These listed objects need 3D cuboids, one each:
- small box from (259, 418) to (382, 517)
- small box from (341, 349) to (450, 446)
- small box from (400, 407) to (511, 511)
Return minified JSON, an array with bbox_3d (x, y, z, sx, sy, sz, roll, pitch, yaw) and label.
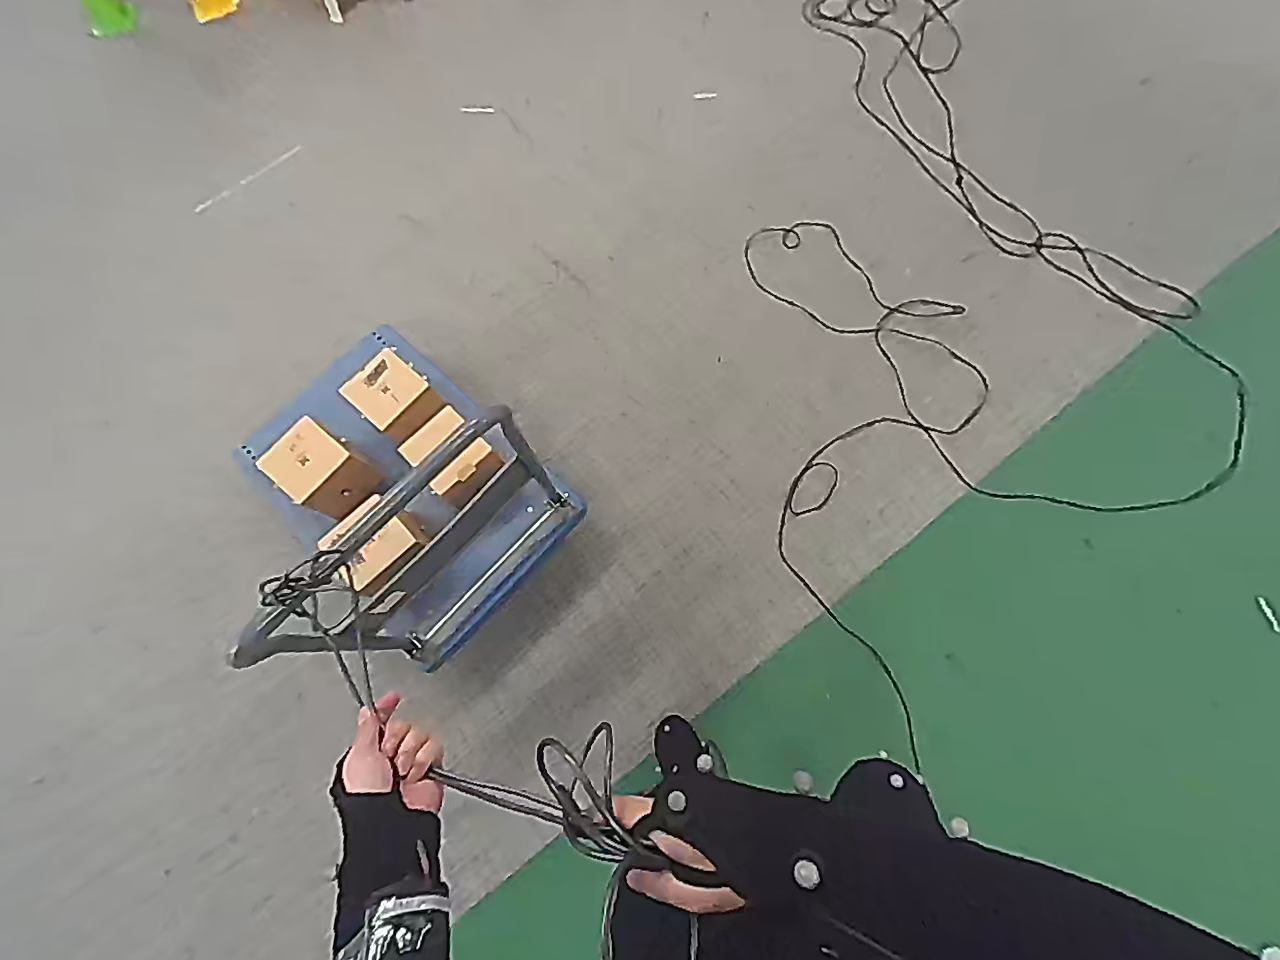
[{"bbox_3d":[-0.810,-0.023,1.390,0.179,0.176,0.168,37,78,15],"label":"small box"},{"bbox_3d":[-0.635,-0.205,1.434,0.179,0.176,0.168,39,80,14],"label":"small box"},{"bbox_3d":[-0.460,-0.046,1.372,0.179,0.176,0.168,43,80,15],"label":"small box"}]
